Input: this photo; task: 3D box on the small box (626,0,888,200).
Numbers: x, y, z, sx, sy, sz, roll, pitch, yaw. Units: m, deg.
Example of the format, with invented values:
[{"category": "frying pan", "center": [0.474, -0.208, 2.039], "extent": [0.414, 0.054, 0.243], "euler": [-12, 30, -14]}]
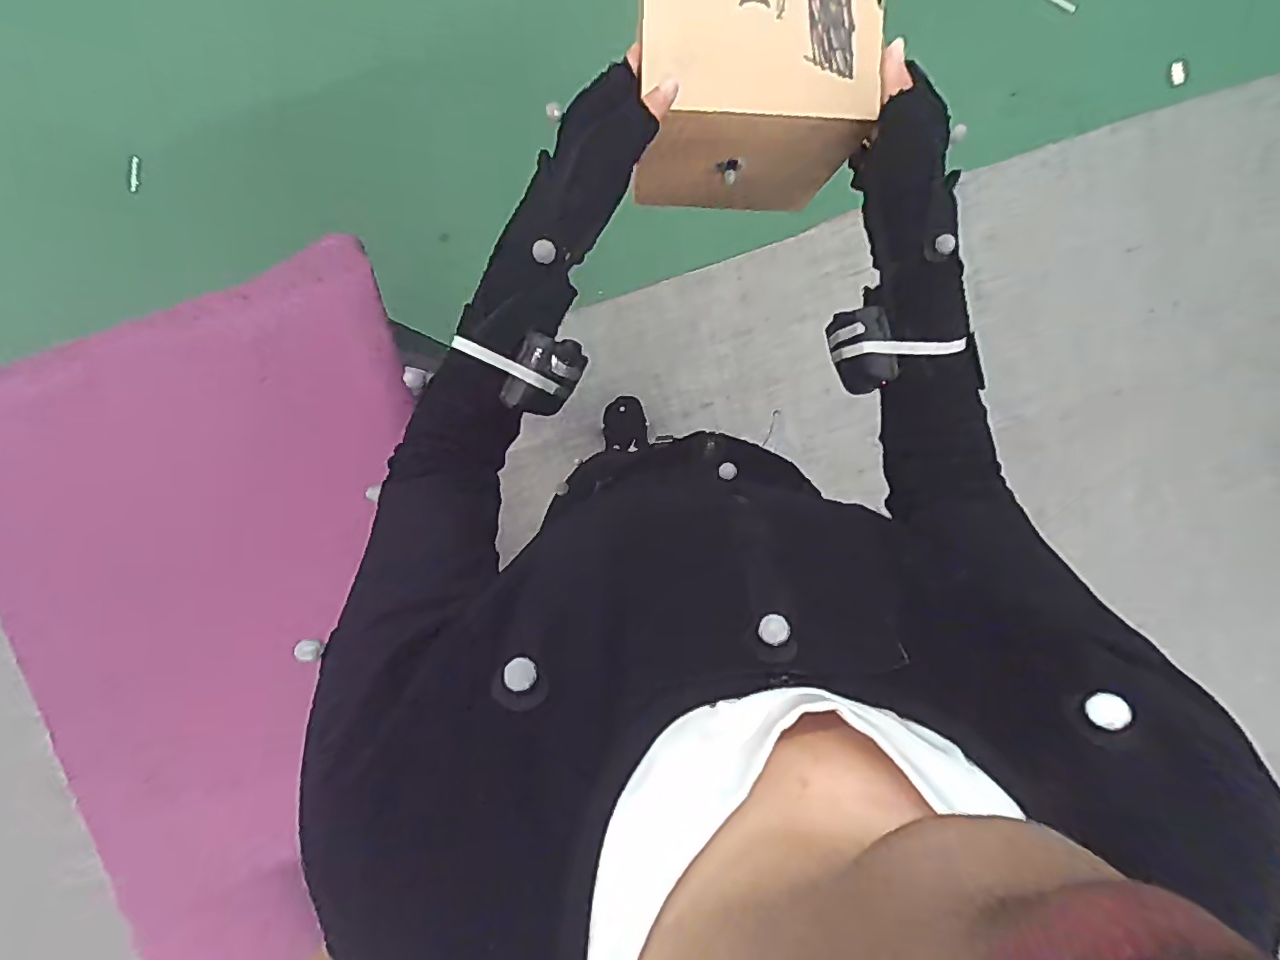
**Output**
[{"category": "small box", "center": [0.084, -0.356, 0.450], "extent": [0.179, 0.176, 0.168], "euler": [5, 94, -3]}]
